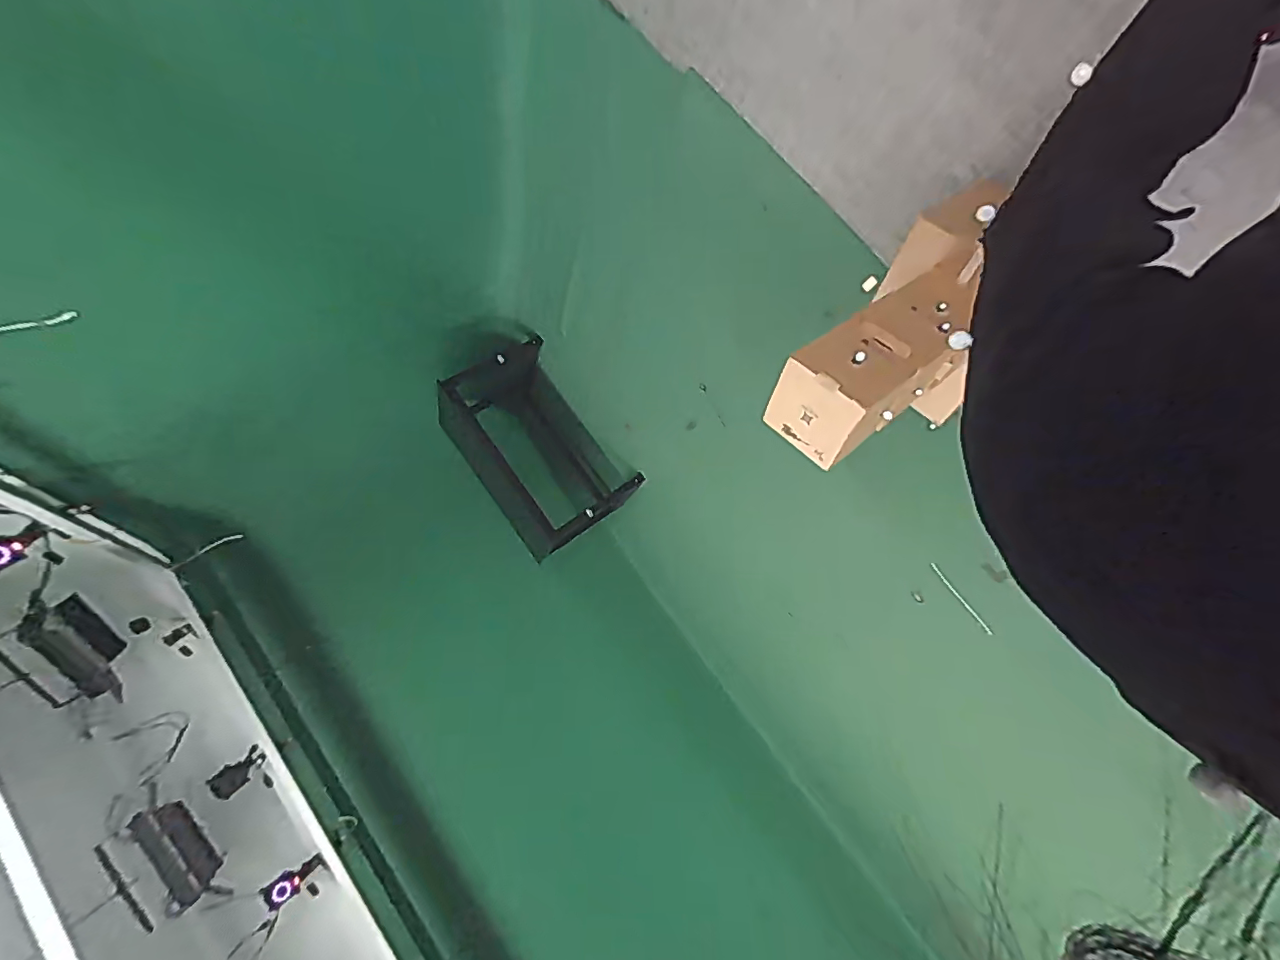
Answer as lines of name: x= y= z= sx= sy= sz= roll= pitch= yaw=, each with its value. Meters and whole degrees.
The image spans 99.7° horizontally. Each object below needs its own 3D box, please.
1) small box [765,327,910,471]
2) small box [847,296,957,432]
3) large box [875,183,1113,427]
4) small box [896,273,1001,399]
small box: x=0.371 y=-0.156 z=1.014 sx=0.168 sy=0.176 sz=0.179 roll=45 pitch=150 yaw=22
small box: x=0.496 y=-0.237 z=1.083 sx=0.168 sy=0.176 sz=0.179 roll=45 pitch=152 yaw=23
large box: x=0.791 y=-0.418 z=1.303 sx=0.320 sy=0.320 sz=0.408 roll=46 pitch=153 yaw=23
small box: x=0.620 y=-0.313 z=1.157 sx=0.179 sy=0.176 sz=0.168 roll=45 pitch=151 yaw=22
